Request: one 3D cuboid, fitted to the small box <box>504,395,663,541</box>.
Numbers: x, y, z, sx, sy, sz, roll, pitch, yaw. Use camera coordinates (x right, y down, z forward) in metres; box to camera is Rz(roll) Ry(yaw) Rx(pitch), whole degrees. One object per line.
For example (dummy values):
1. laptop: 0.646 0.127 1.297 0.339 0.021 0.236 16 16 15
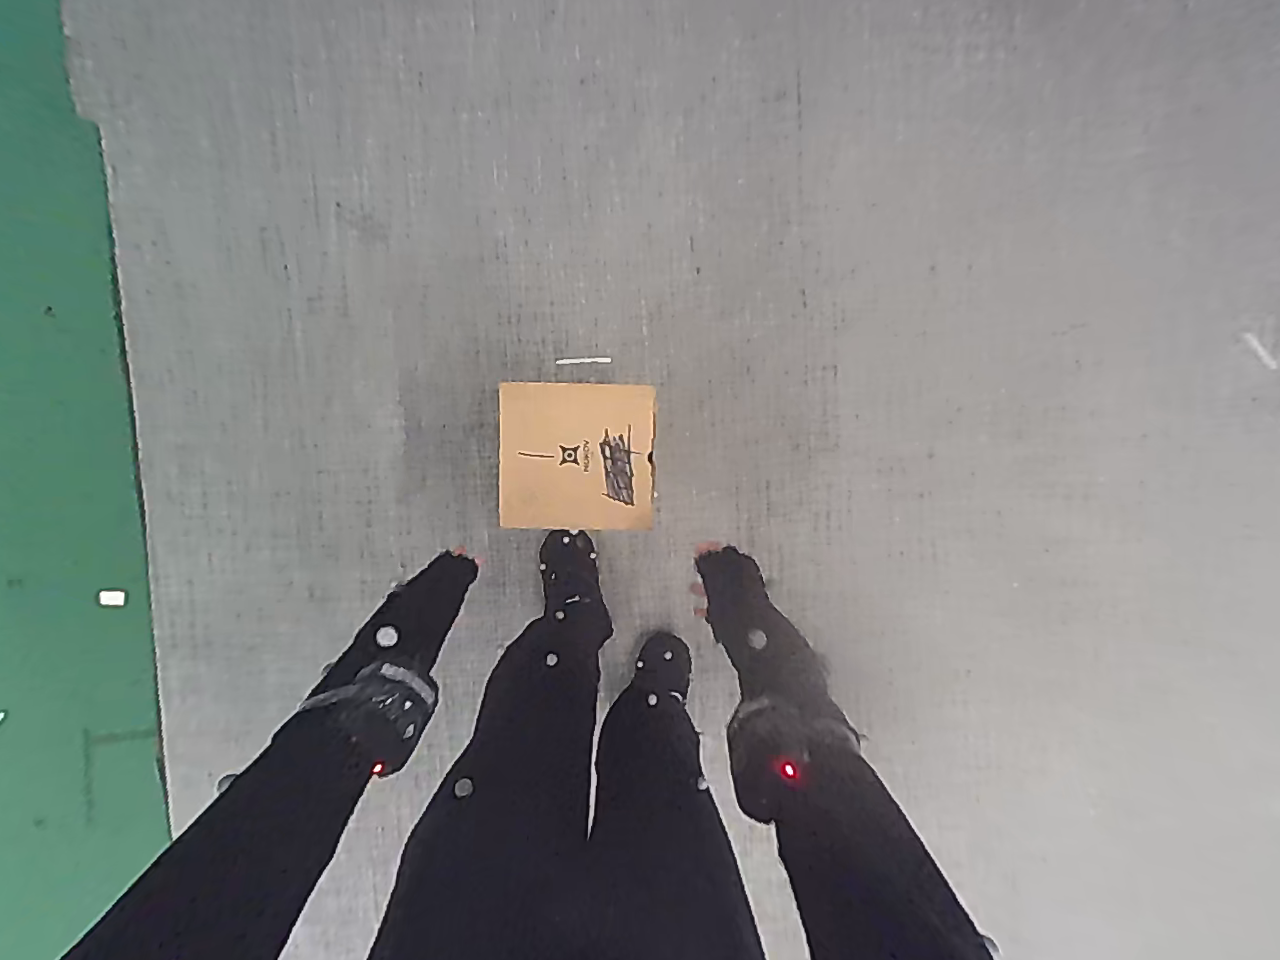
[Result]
1. small box: -0.069 -0.019 0.693 0.179 0.176 0.168 -3 93 -4
